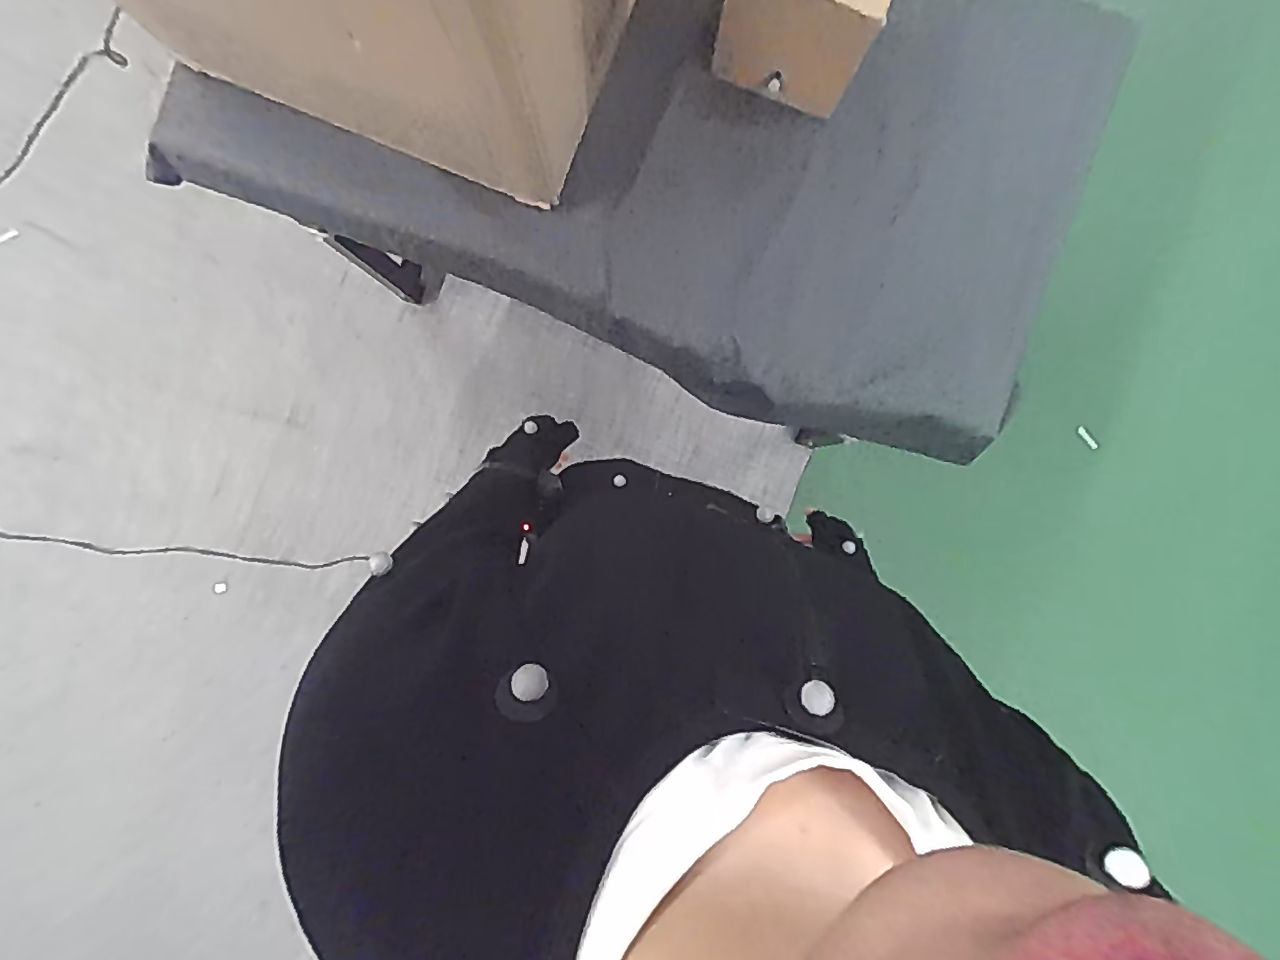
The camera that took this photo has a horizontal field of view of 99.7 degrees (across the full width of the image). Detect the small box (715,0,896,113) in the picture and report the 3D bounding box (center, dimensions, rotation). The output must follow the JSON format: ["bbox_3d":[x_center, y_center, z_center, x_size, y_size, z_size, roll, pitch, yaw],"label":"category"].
[{"bbox_3d":[0.209,-0.596,0.659,0.179,0.176,0.168,20,91,-2],"label":"small box"}]
